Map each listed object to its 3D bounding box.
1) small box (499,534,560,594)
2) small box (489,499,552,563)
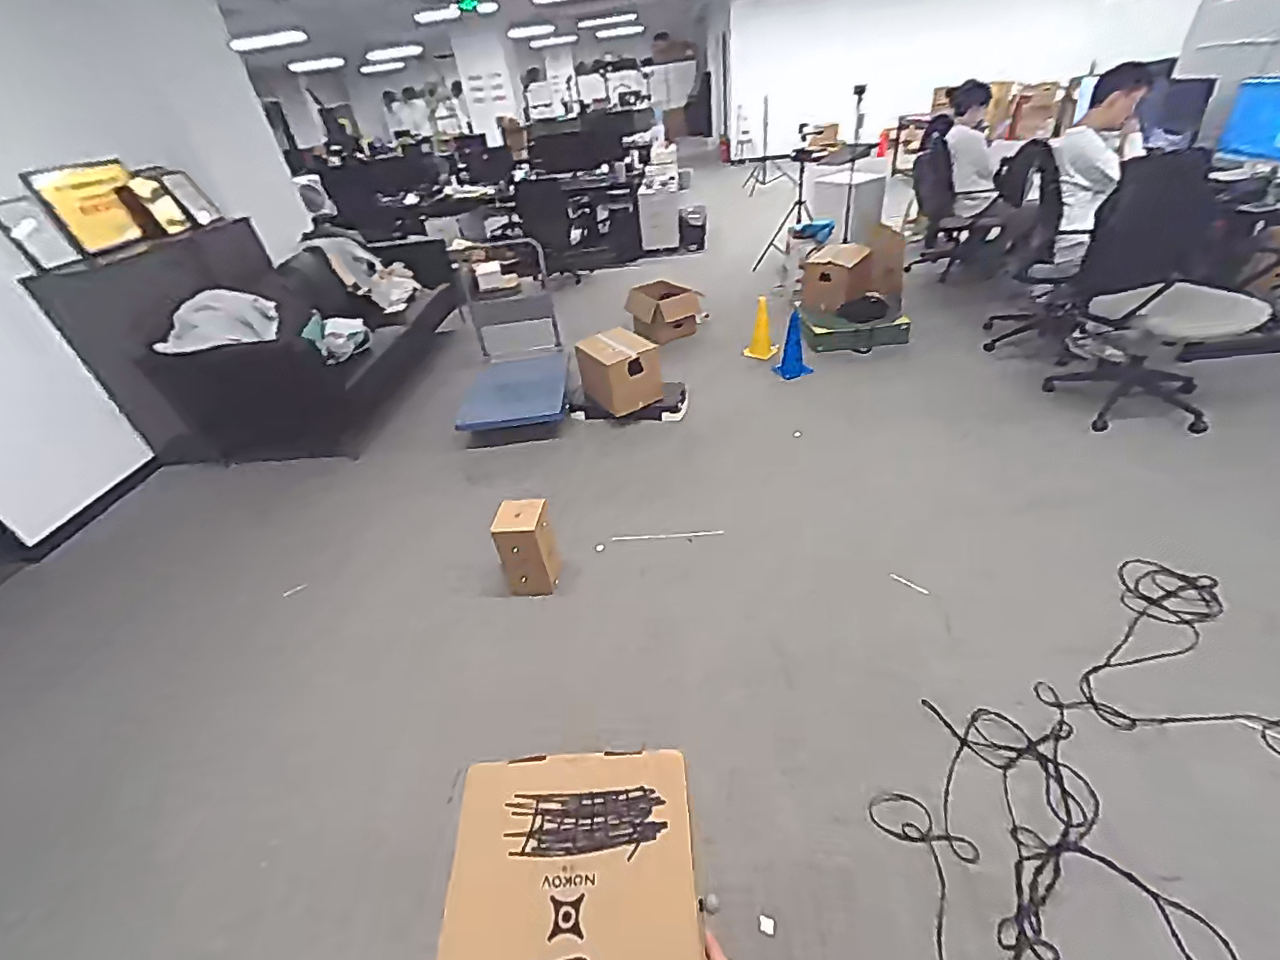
[{"bbox_3d":[-0.417,0.323,2.081,0.179,0.176,0.168,-4,36,8],"label":"small box"},{"bbox_3d":[-0.430,0.190,1.985,0.168,0.176,0.179,-2,36,7],"label":"small box"}]
